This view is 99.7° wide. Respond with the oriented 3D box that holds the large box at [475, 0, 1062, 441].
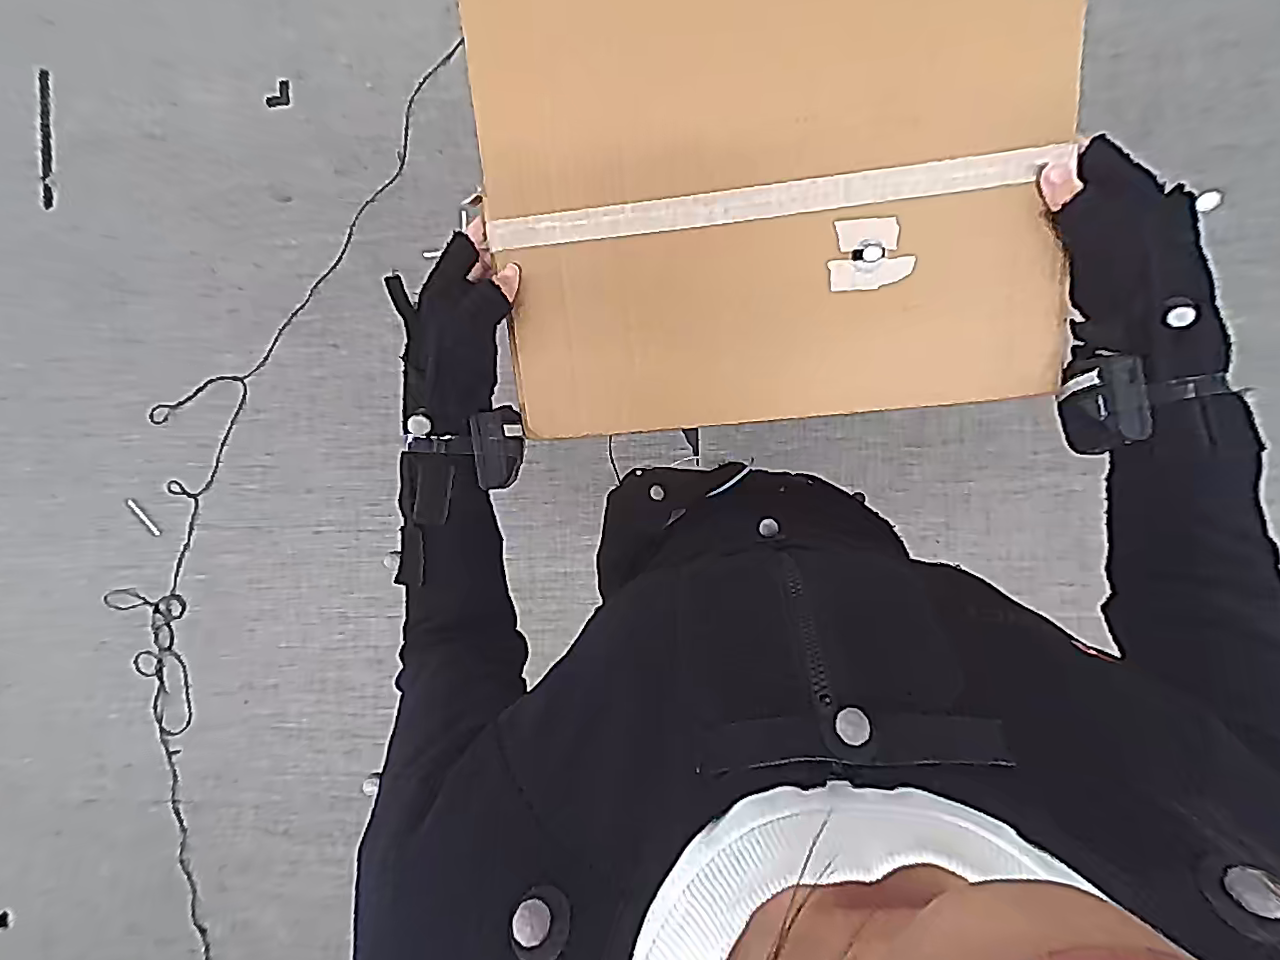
[{"bbox_3d":[0.103,-0.233,0.542,0.408,0.320,0.320,-6,103,5],"label":"large box"}]
